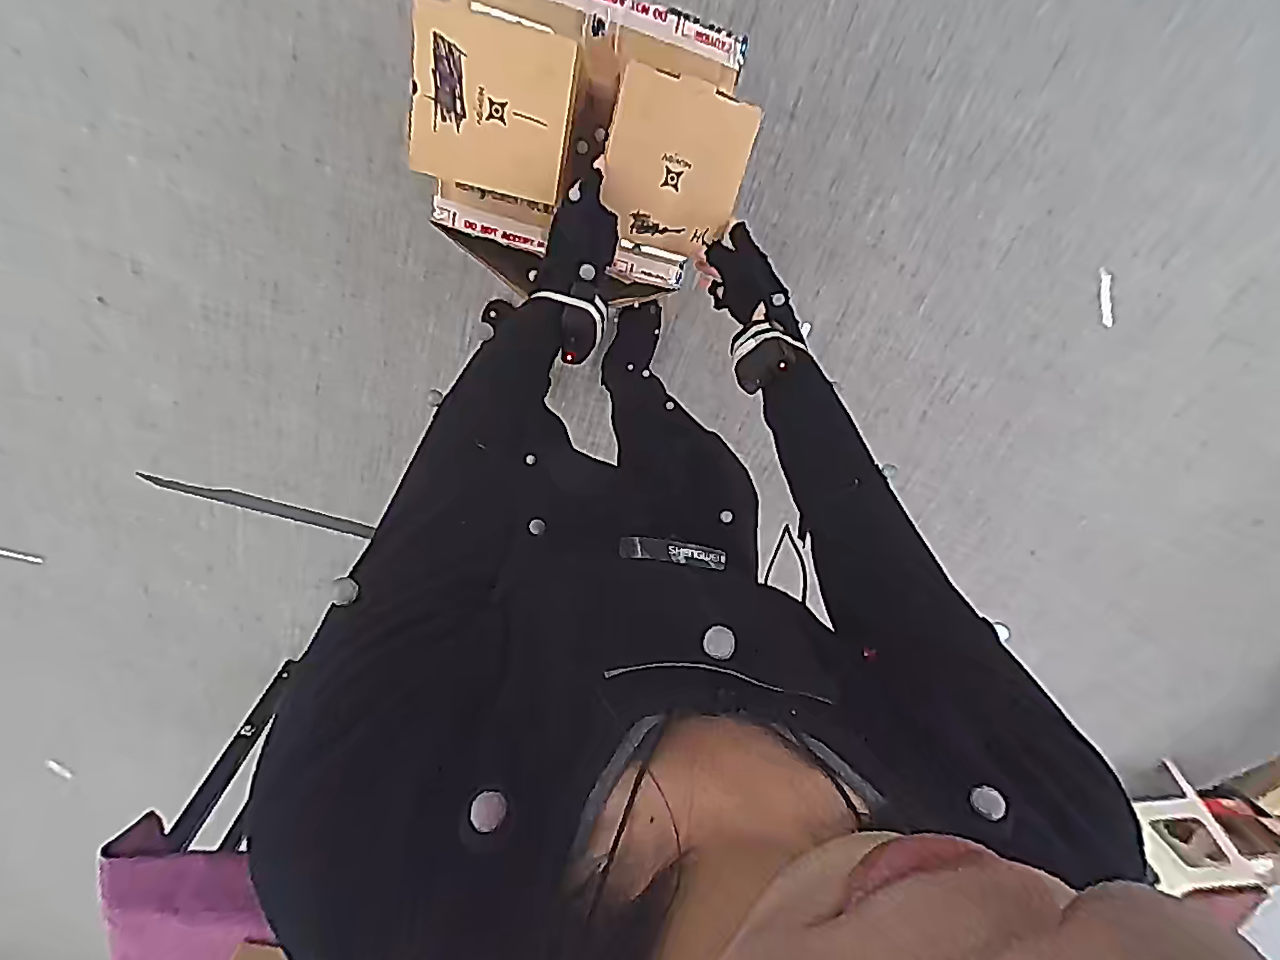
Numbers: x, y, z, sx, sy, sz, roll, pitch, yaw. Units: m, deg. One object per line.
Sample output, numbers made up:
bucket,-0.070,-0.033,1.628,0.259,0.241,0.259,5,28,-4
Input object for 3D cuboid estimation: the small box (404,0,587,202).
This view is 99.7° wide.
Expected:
small box,-0.170,-0.451,0.669,0.179,0.176,0.168,11,116,-6

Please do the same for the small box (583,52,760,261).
small box,0.026,-0.402,0.697,0.168,0.176,0.179,10,116,-15
